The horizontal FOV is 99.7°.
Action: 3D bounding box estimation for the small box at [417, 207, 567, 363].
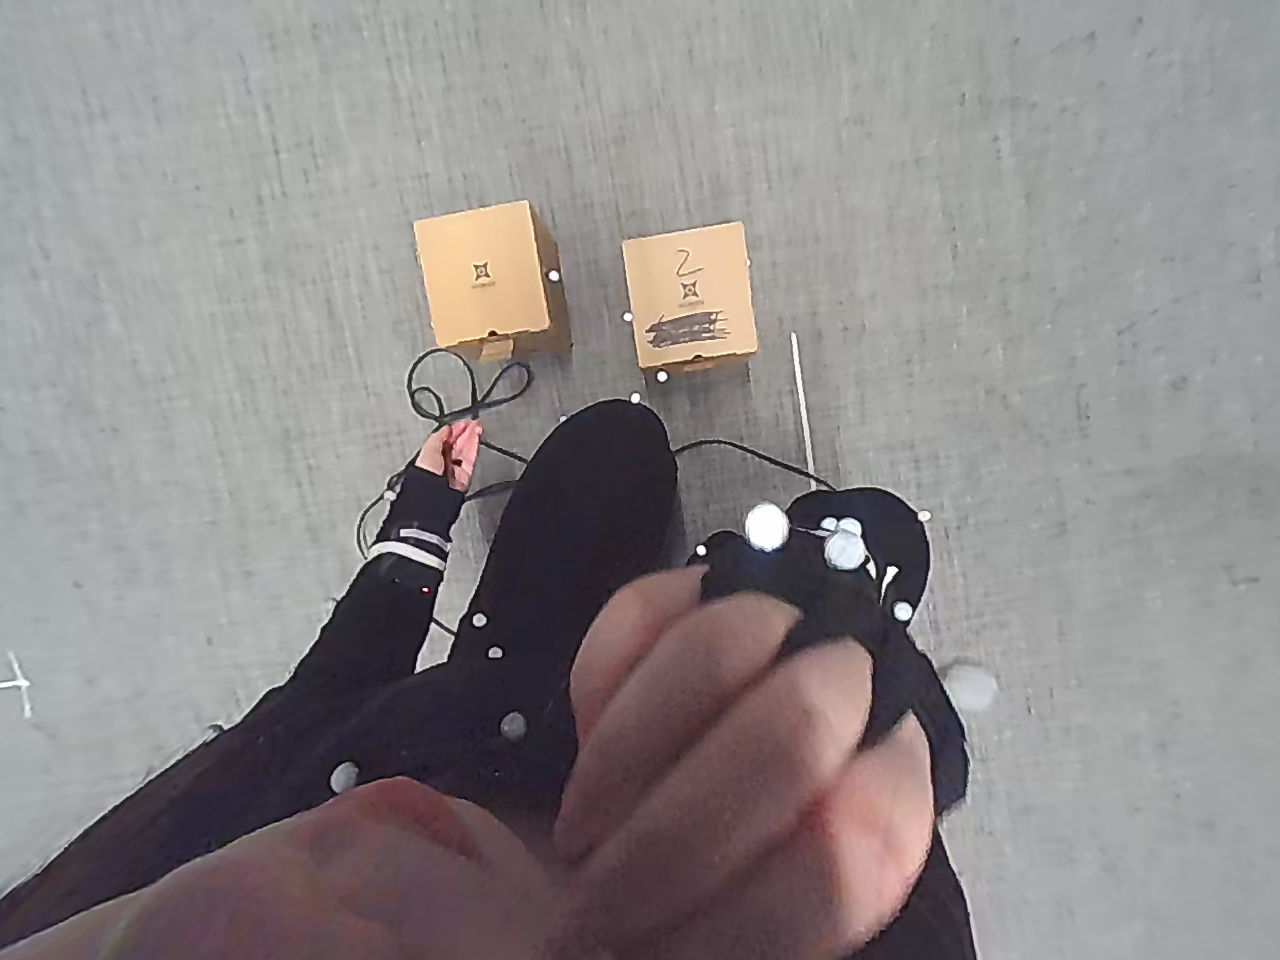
[{"bbox_3d":[-0.216,-0.288,0.834,0.168,0.176,0.179,-8,96,4],"label":"small box"}]
